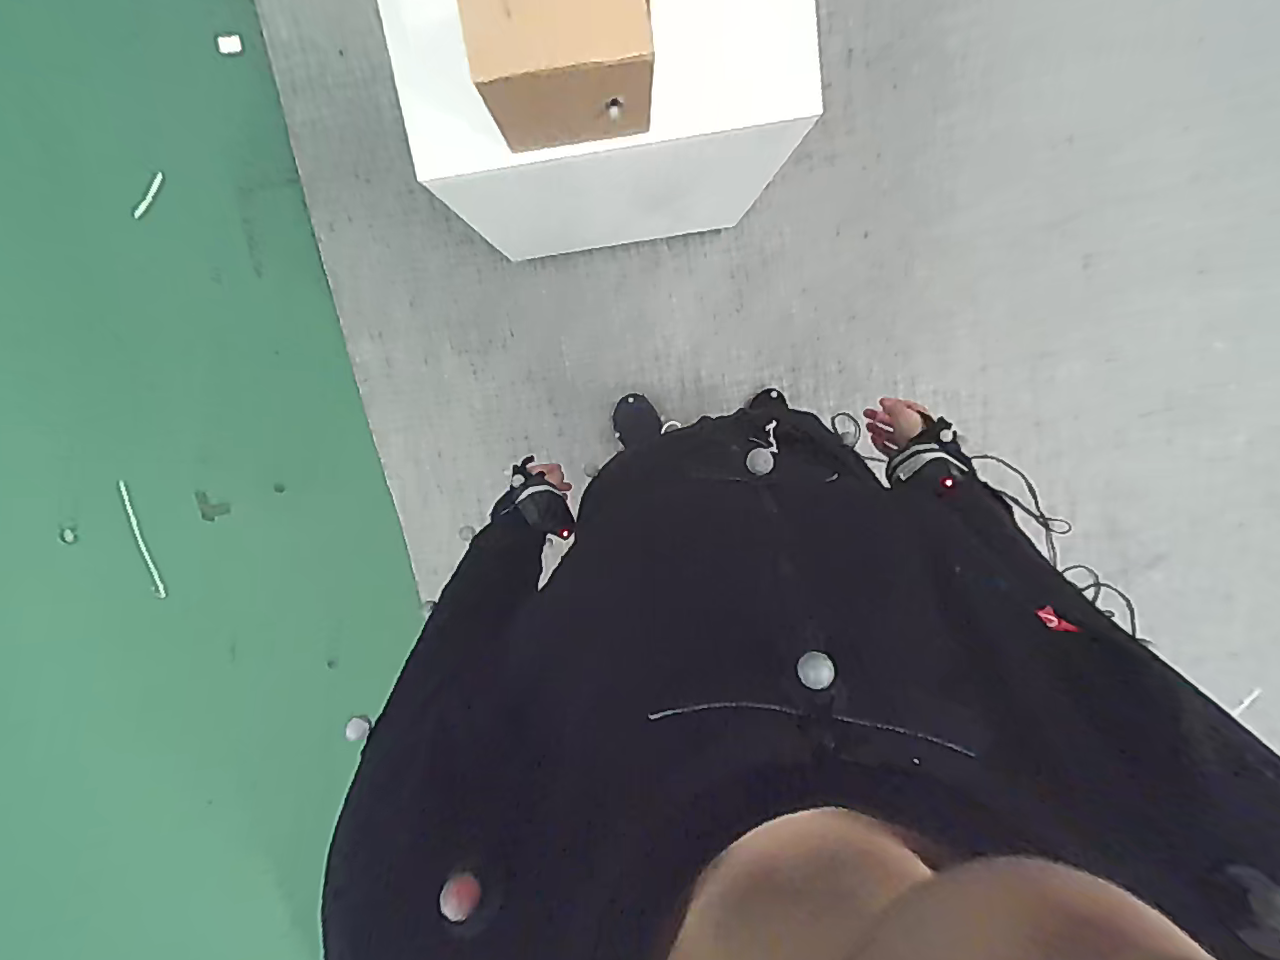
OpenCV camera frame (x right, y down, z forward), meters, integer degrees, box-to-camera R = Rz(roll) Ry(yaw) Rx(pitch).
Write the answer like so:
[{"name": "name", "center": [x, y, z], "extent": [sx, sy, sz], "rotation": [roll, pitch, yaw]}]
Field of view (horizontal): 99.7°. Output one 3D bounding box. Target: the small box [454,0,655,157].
[{"name": "small box", "center": [-0.085, -0.468, 0.566], "extent": [0.179, 0.176, 0.168], "rotation": [-9, 100, 2]}]
